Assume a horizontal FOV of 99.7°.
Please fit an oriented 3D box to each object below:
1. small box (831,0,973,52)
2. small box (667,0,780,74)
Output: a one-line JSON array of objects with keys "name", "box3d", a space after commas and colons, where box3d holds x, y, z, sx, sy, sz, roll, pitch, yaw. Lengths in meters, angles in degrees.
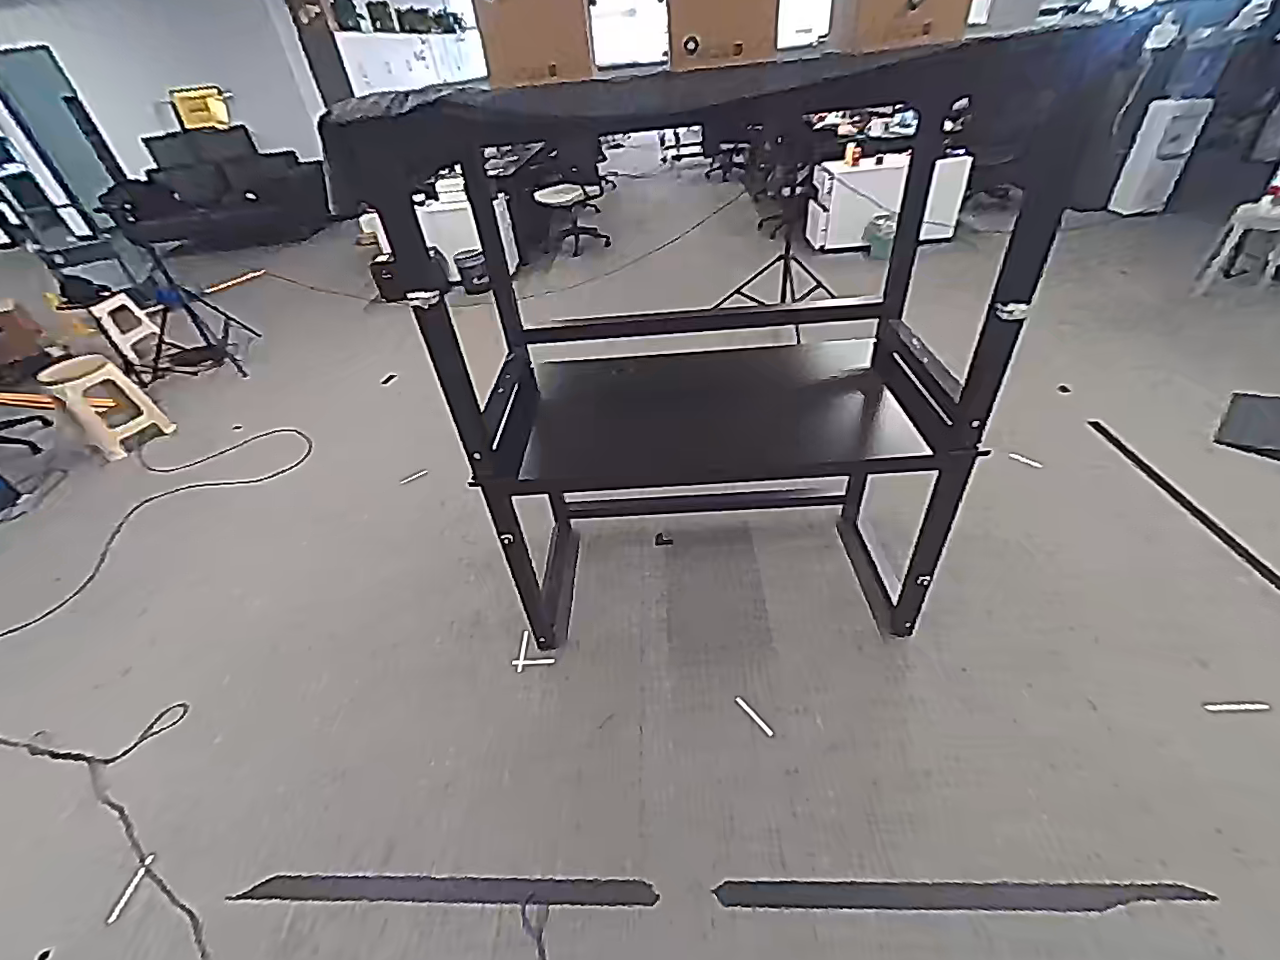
[{"name": "small box", "box3d": [0.399, -0.767, 0.824, 0.168, 0.176, 0.179, -4, 38, 6]}, {"name": "small box", "box3d": [0.125, -0.750, 0.845, 0.168, 0.176, 0.179, -3, 37, 4]}]
